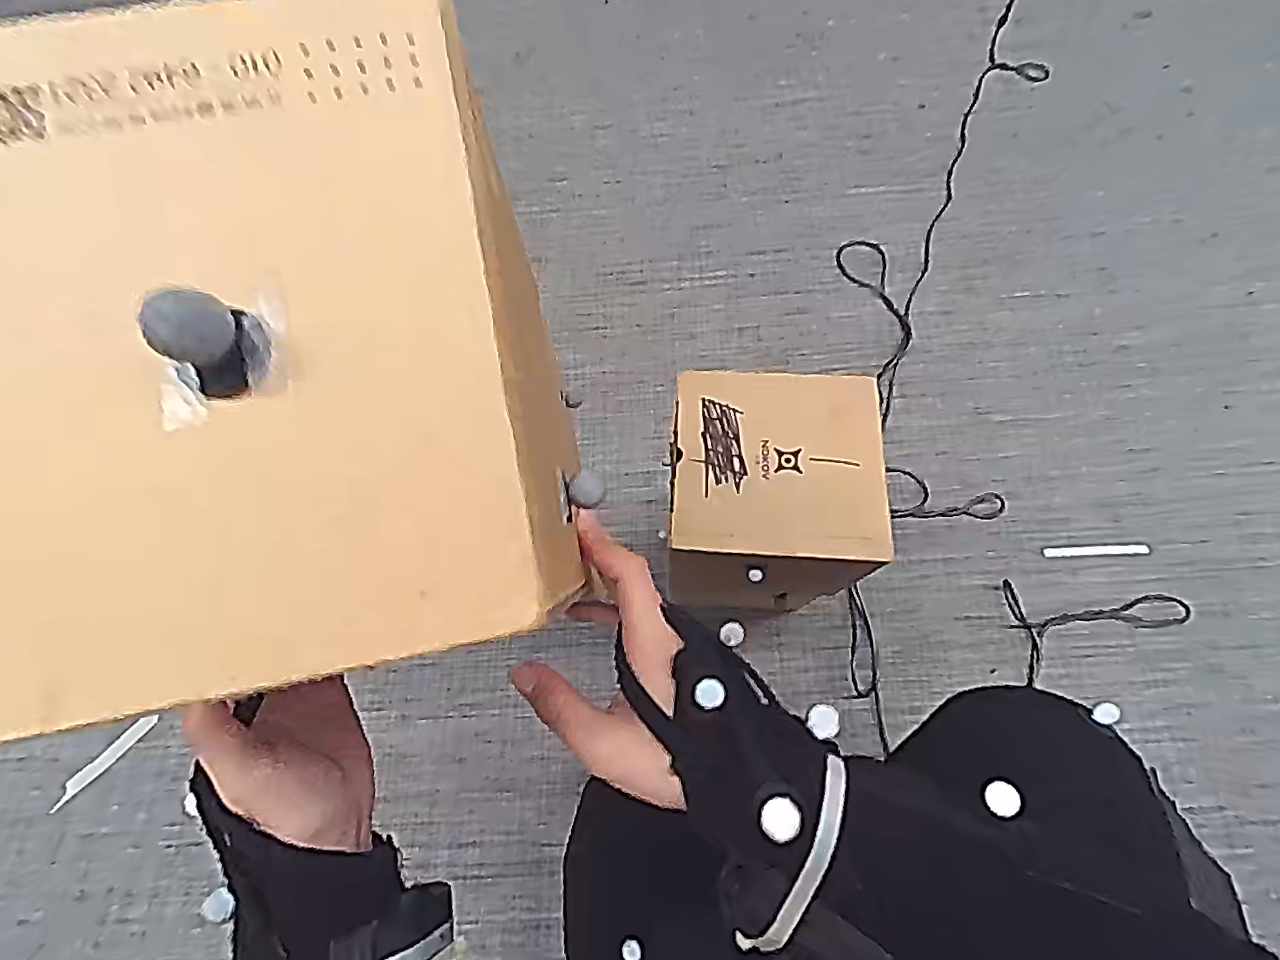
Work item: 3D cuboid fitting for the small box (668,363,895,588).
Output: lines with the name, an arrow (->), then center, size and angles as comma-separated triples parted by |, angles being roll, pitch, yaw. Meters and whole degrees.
small box -> 0.118, 0.006, 0.520 | 0.179, 0.176, 0.168 | 3, 70, 4

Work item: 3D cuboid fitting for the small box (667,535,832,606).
small box -> 0.125, 0.061, 0.674 | 0.179, 0.176, 0.168 | 2, 69, 4
